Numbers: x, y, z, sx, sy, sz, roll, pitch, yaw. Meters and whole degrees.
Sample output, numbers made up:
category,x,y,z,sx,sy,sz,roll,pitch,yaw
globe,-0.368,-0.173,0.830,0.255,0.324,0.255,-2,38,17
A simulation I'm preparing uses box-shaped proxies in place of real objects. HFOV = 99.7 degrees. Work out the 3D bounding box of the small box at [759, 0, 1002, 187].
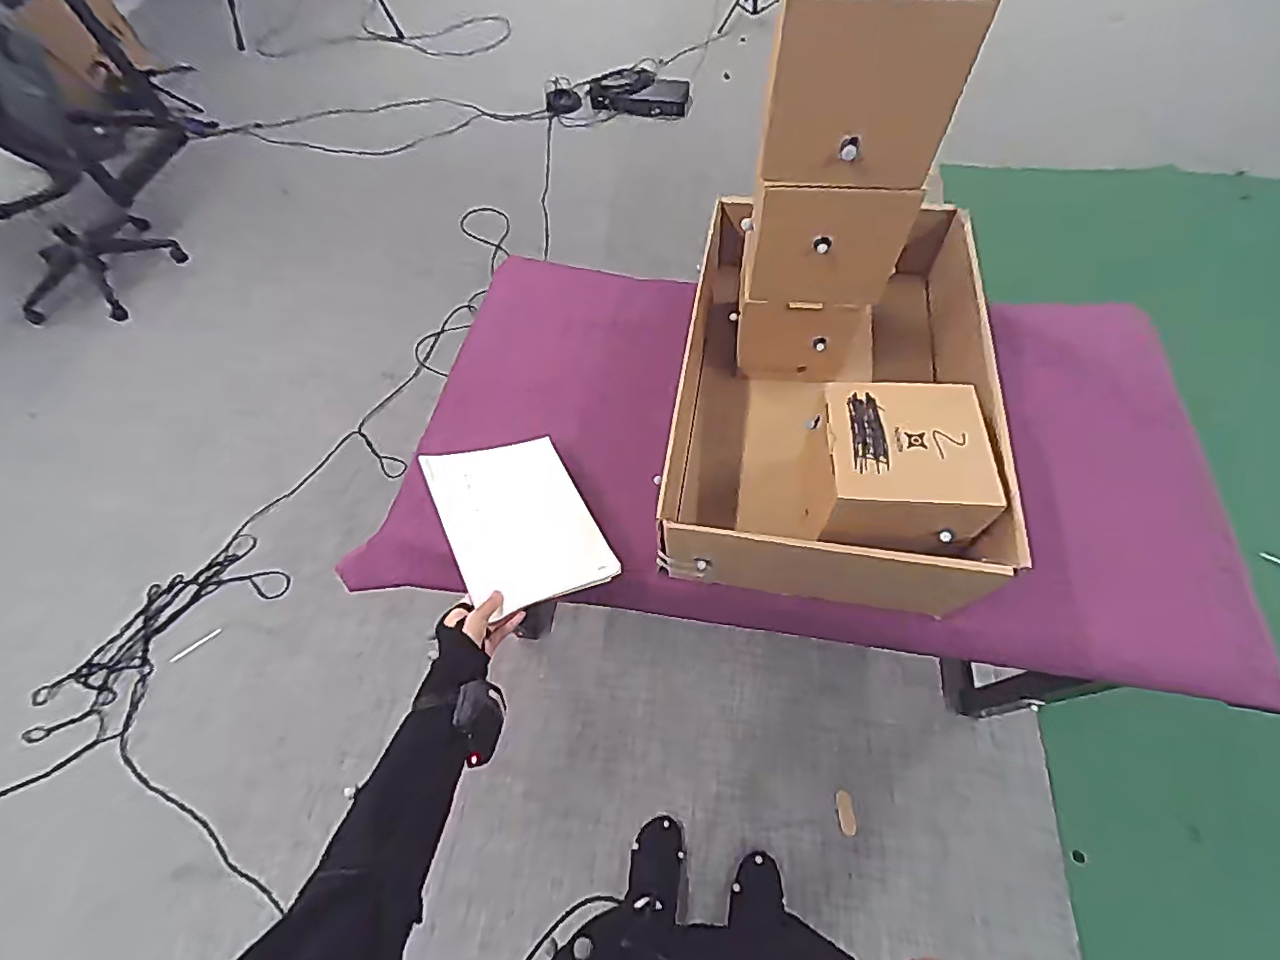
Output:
category,x,y,z,sx,sy,sz,roll,pitch,yaw
small box,0.229,-0.432,0.559,0.179,0.176,0.168,7,62,7

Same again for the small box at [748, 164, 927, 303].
category,x,y,z,sx,sy,sz,roll,pitch,yaw
small box,0.241,-0.349,0.700,0.179,0.176,0.168,5,62,7
